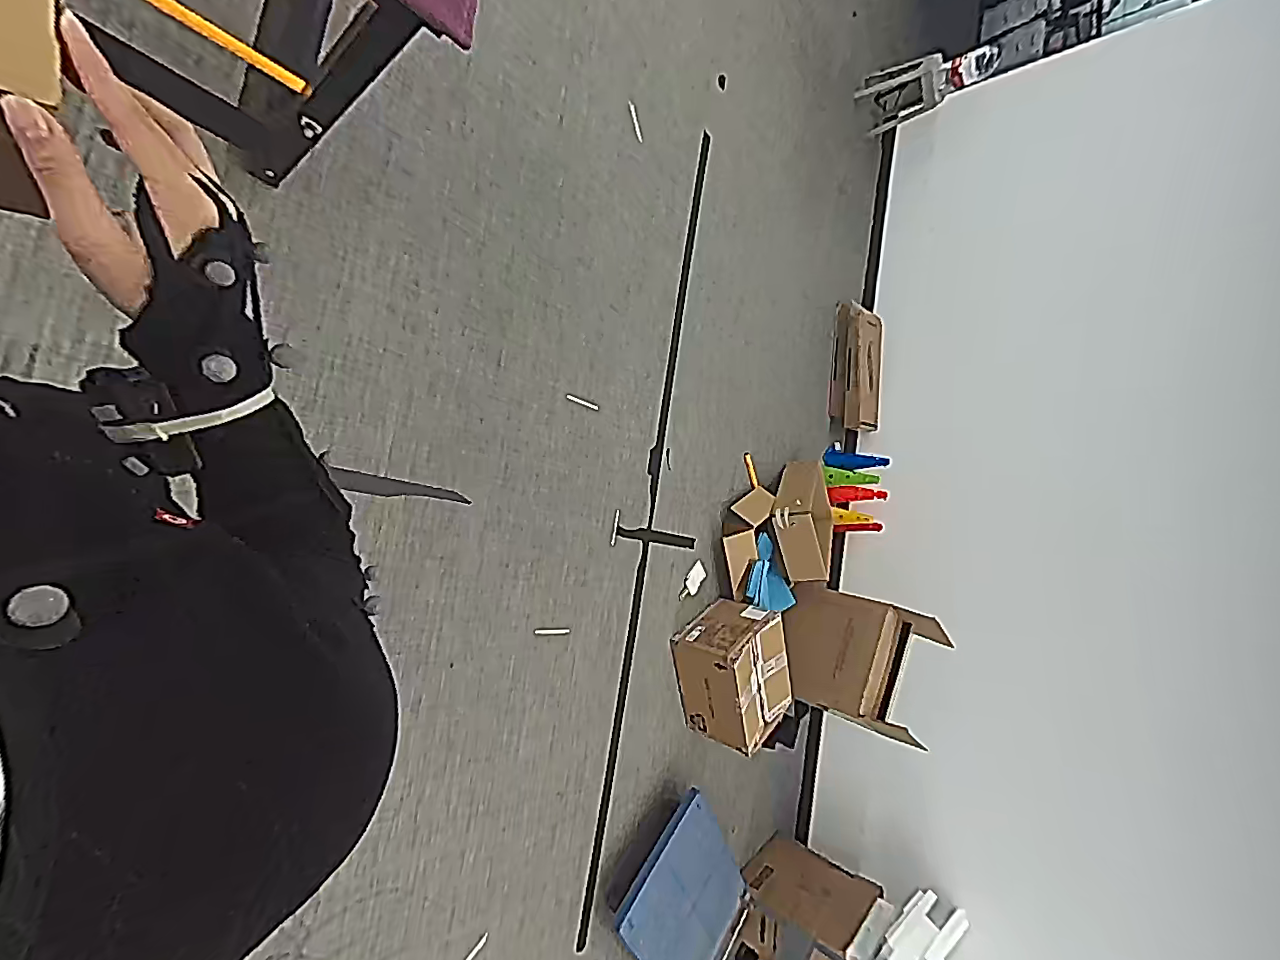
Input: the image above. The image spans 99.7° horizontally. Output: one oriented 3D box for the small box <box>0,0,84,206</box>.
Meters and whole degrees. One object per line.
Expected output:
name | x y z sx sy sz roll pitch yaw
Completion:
small box | -0.364 -0.245 0.229 0.179 0.176 0.168 -1 93 -48
